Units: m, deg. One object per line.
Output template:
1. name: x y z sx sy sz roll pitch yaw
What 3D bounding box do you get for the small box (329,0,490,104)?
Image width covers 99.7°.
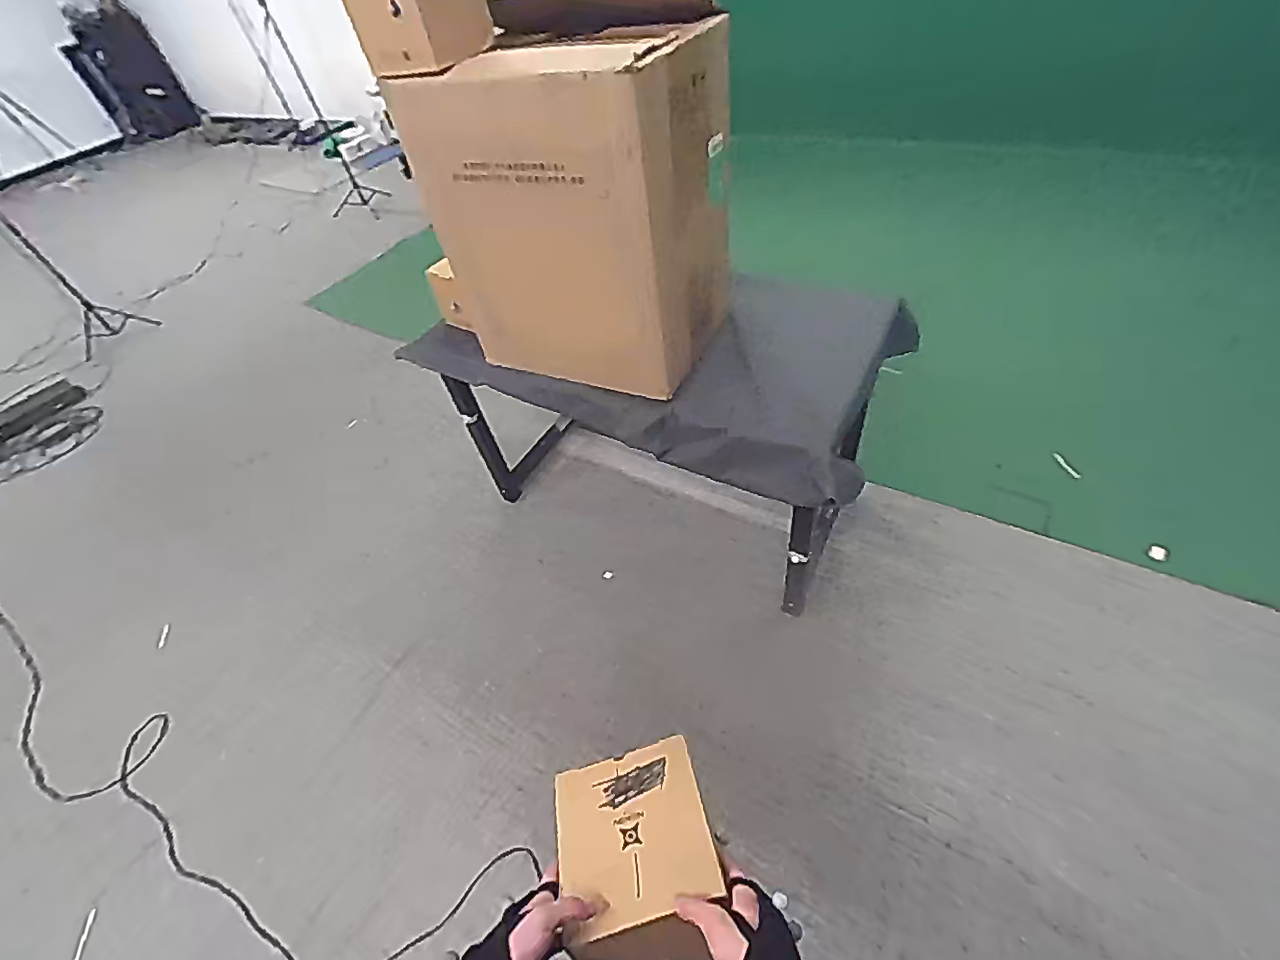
1. small box: -0.401 -0.795 0.973 0.168 0.176 0.179 15 51 24

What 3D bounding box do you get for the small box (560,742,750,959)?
1. small box: 0.014 0.451 0.629 0.168 0.176 0.179 -19 31 -1
